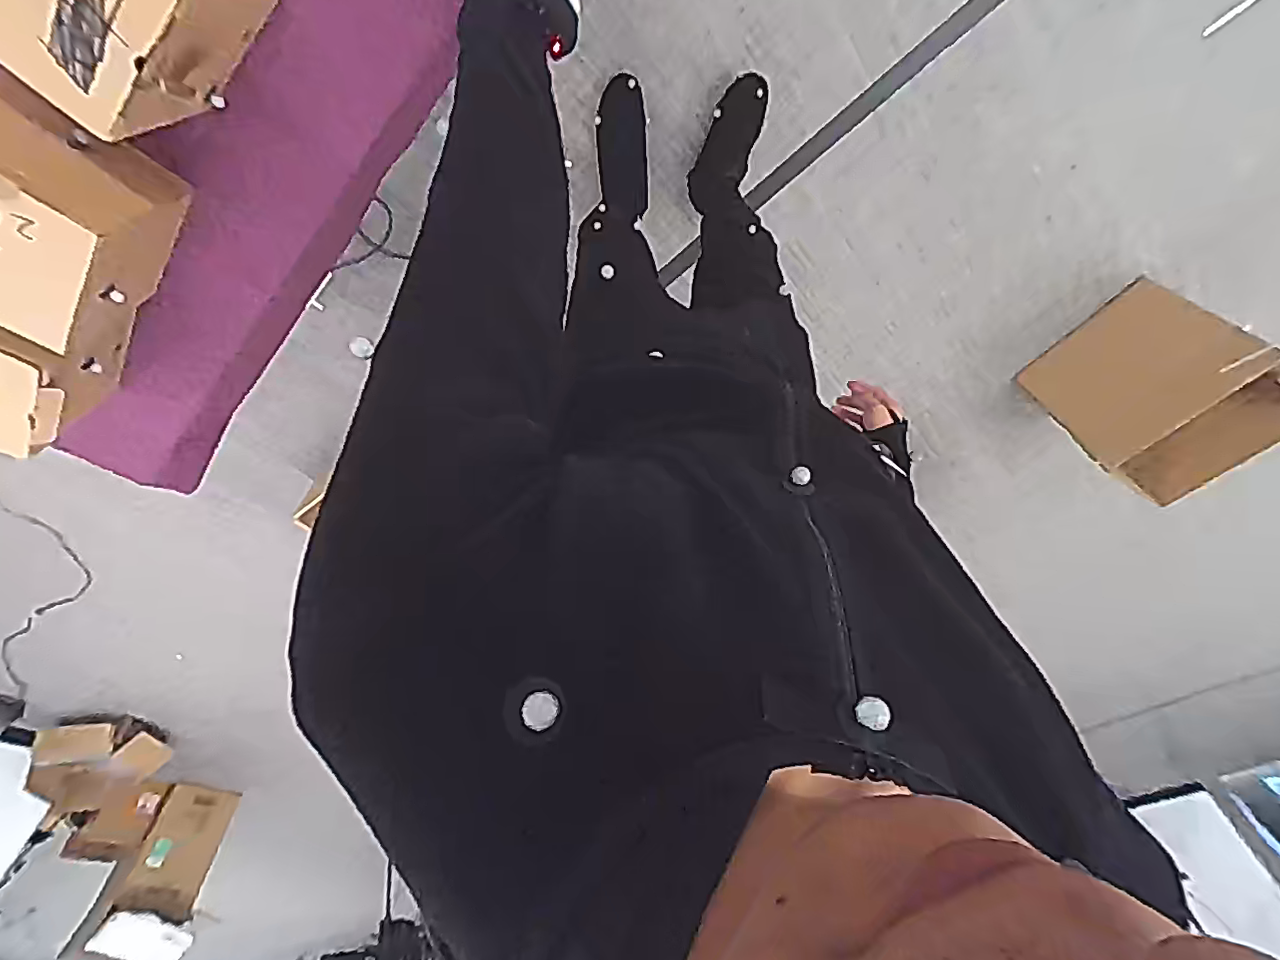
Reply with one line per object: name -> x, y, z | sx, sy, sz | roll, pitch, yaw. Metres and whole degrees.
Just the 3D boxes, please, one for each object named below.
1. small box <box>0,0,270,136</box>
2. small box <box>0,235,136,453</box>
small box -> -0.451, -0.434, 0.444 | 0.168, 0.176, 0.179 | -33, 126, 23
small box -> -0.779, -0.172, 0.662 | 0.179, 0.176, 0.168 | 31, 123, -27
